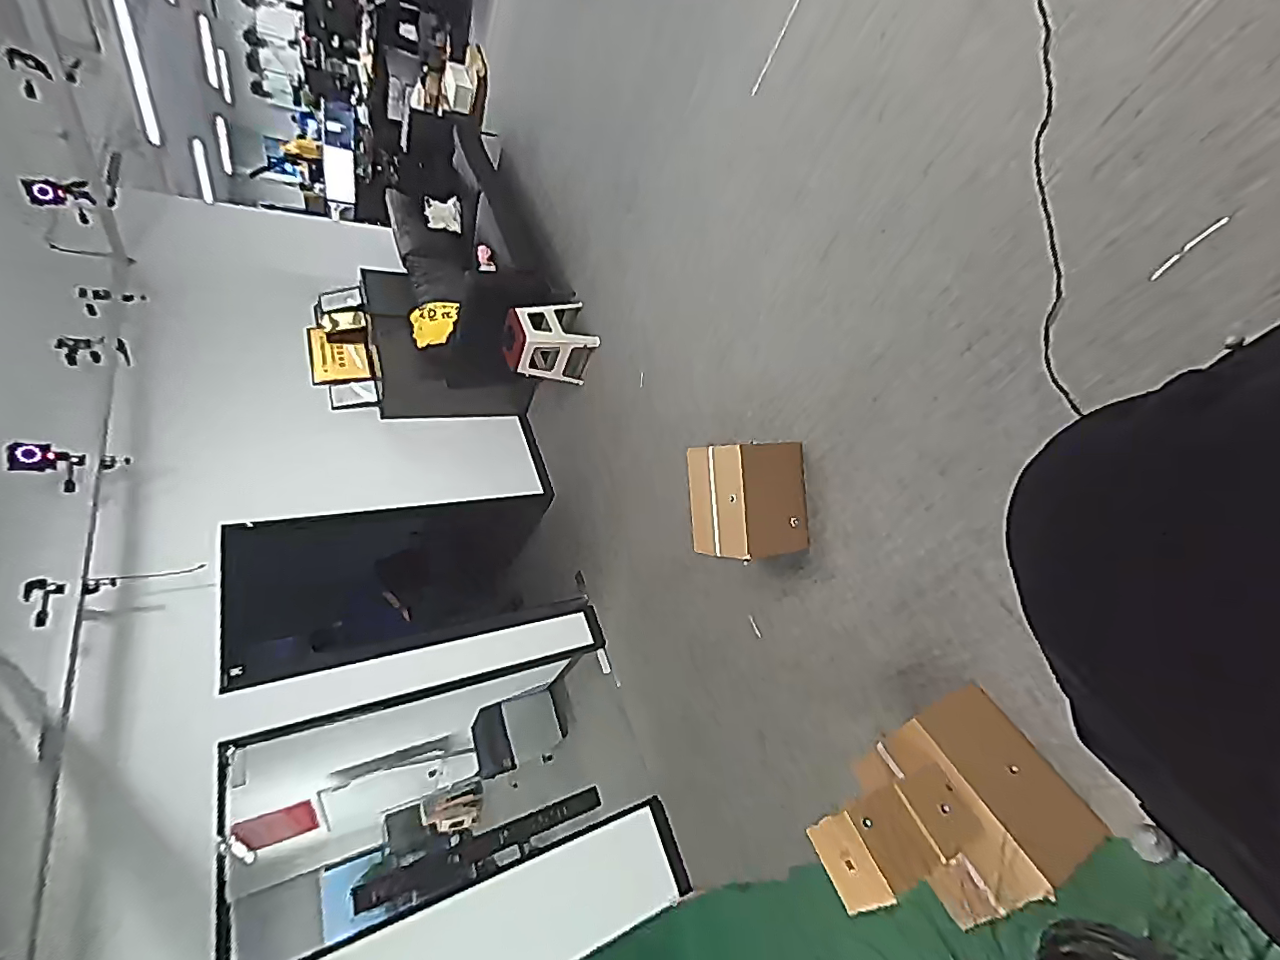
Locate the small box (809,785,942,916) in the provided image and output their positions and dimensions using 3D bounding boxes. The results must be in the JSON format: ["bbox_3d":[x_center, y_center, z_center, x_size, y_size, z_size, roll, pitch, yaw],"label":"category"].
[{"bbox_3d":[0.524,0.820,1.205,0.179,0.176,0.168,61,141,34],"label":"small box"}]

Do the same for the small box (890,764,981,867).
[{"bbox_3d":[0.665,0.806,1.283,0.168,0.176,0.179,61,141,35],"label":"small box"}]

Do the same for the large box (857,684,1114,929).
[{"bbox_3d":[0.877,0.826,1.414,0.408,0.320,0.320,54,138,38],"label":"large box"}]
